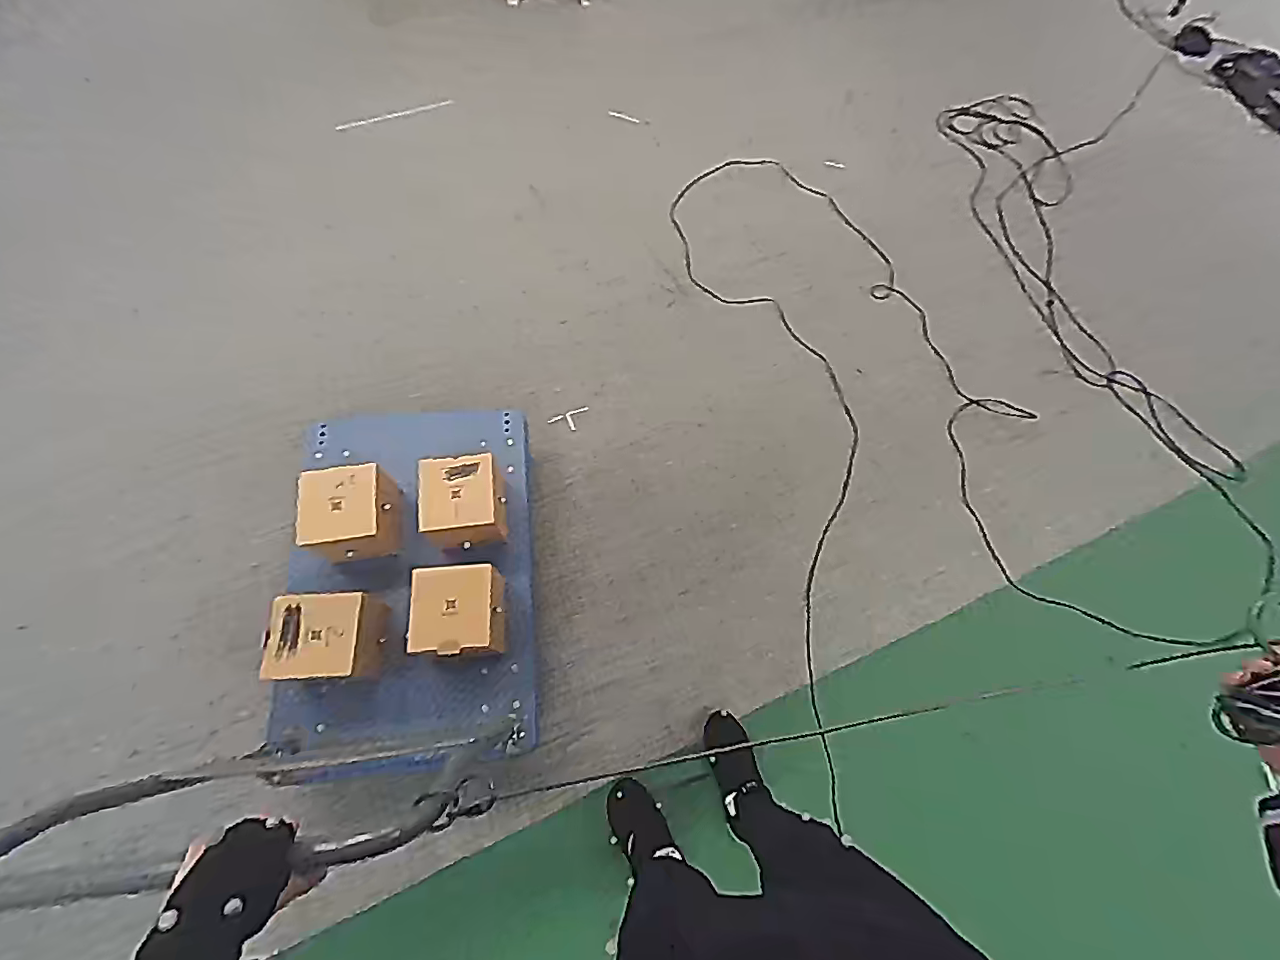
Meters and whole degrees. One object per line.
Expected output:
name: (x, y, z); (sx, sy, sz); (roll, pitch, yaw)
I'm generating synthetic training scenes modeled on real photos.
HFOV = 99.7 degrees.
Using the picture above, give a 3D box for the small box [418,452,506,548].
small box: (-0.418, 0.051, 1.286); (0.168, 0.176, 0.179); (-6, 70, -6)

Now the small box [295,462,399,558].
small box: (-0.672, 0.077, 1.259); (0.168, 0.176, 0.179); (-7, 69, -8)

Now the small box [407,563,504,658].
small box: (-0.398, 0.292, 1.195); (0.168, 0.176, 0.179); (-3, 70, -5)
